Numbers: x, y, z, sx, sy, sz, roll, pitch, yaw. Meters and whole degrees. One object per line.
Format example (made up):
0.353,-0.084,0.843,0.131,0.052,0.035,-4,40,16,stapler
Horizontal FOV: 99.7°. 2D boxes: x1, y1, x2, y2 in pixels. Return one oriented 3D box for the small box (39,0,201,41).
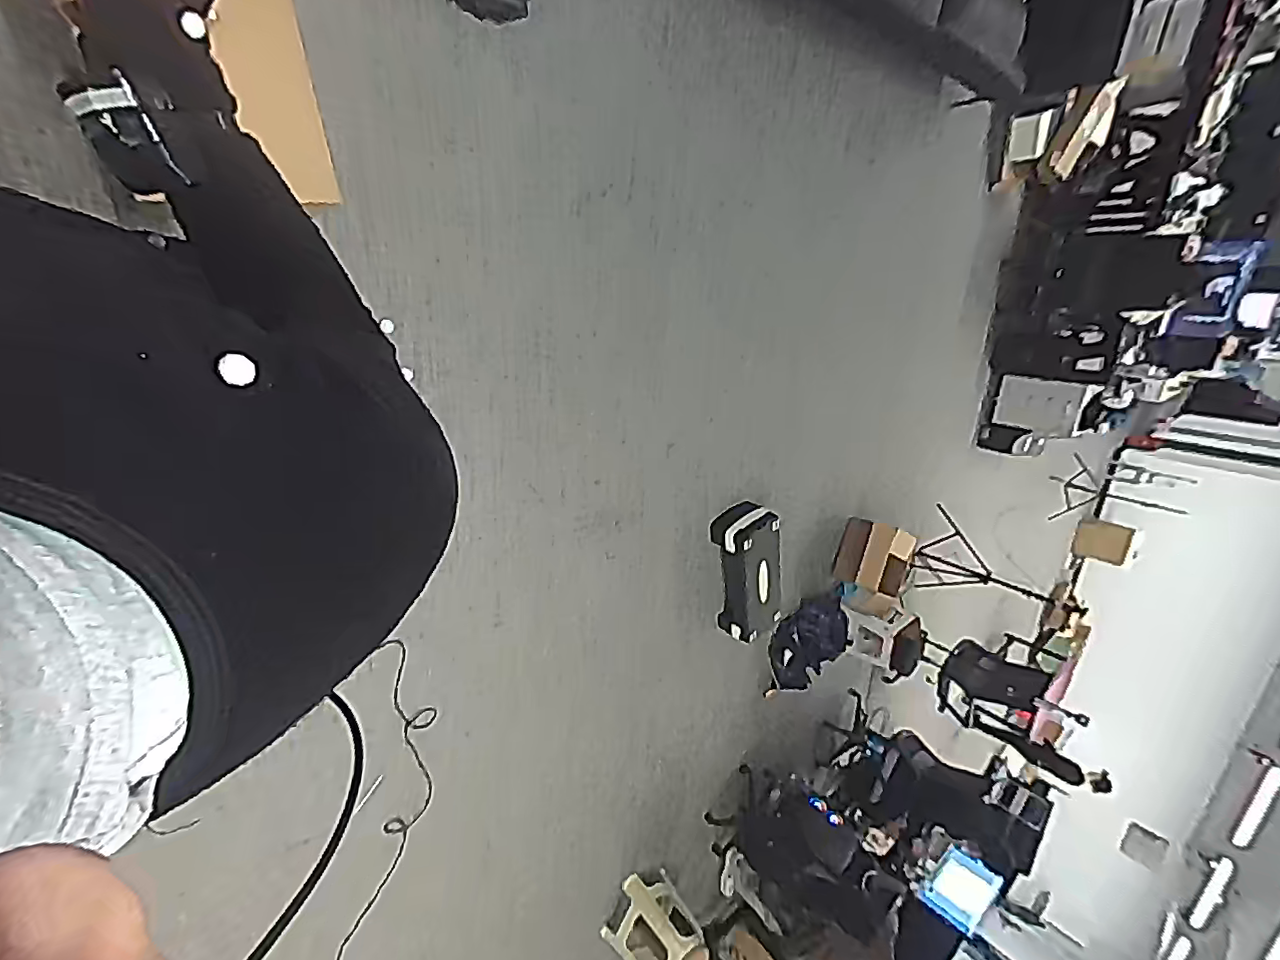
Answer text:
-0.719,-0.725,0.723,0.179,0.176,0.168,-16,115,-34,small box
